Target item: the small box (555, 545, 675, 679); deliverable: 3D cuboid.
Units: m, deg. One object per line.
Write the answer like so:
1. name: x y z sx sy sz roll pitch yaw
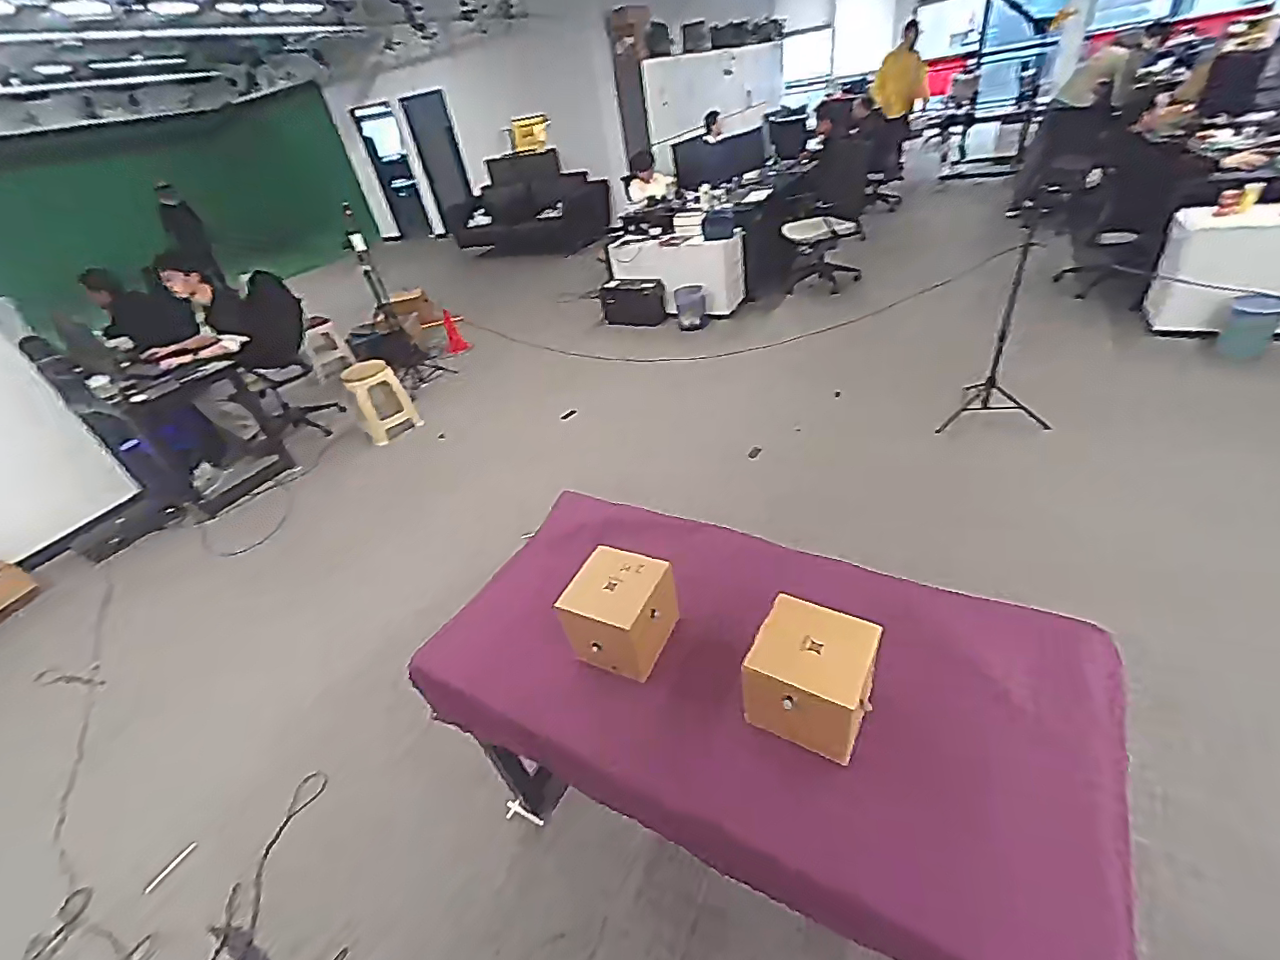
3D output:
1. small box: -0.038 0.263 1.080 0.168 0.176 0.179 11 41 27

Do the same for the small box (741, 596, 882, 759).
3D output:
1. small box: 0.287 0.332 0.906 0.179 0.176 0.168 14 43 31
